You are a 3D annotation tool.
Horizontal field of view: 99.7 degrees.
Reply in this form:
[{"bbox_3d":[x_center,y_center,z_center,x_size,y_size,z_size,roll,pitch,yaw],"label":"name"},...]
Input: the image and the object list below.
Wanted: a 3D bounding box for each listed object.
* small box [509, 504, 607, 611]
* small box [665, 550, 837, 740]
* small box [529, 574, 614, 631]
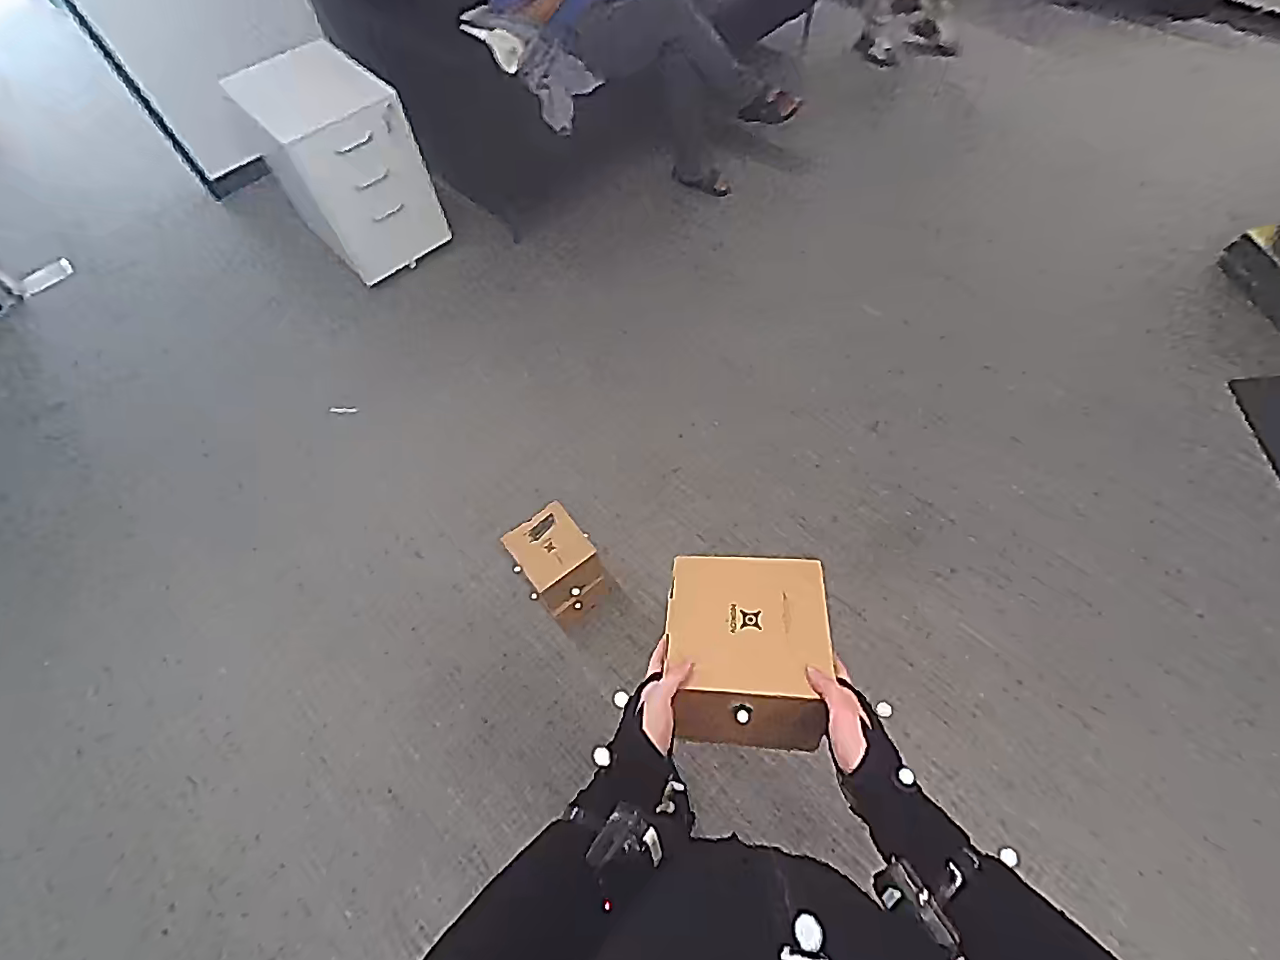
[{"bbox_3d":[-0.200,0.199,1.352,0.168,0.176,0.179,-35,65,-16],"label":"small box"},{"bbox_3d":[0.128,0.202,0.659,0.179,0.176,0.168,0,47,8],"label":"small box"},{"bbox_3d":[-0.190,0.288,1.491,0.168,0.176,0.179,-36,65,-17],"label":"small box"}]
